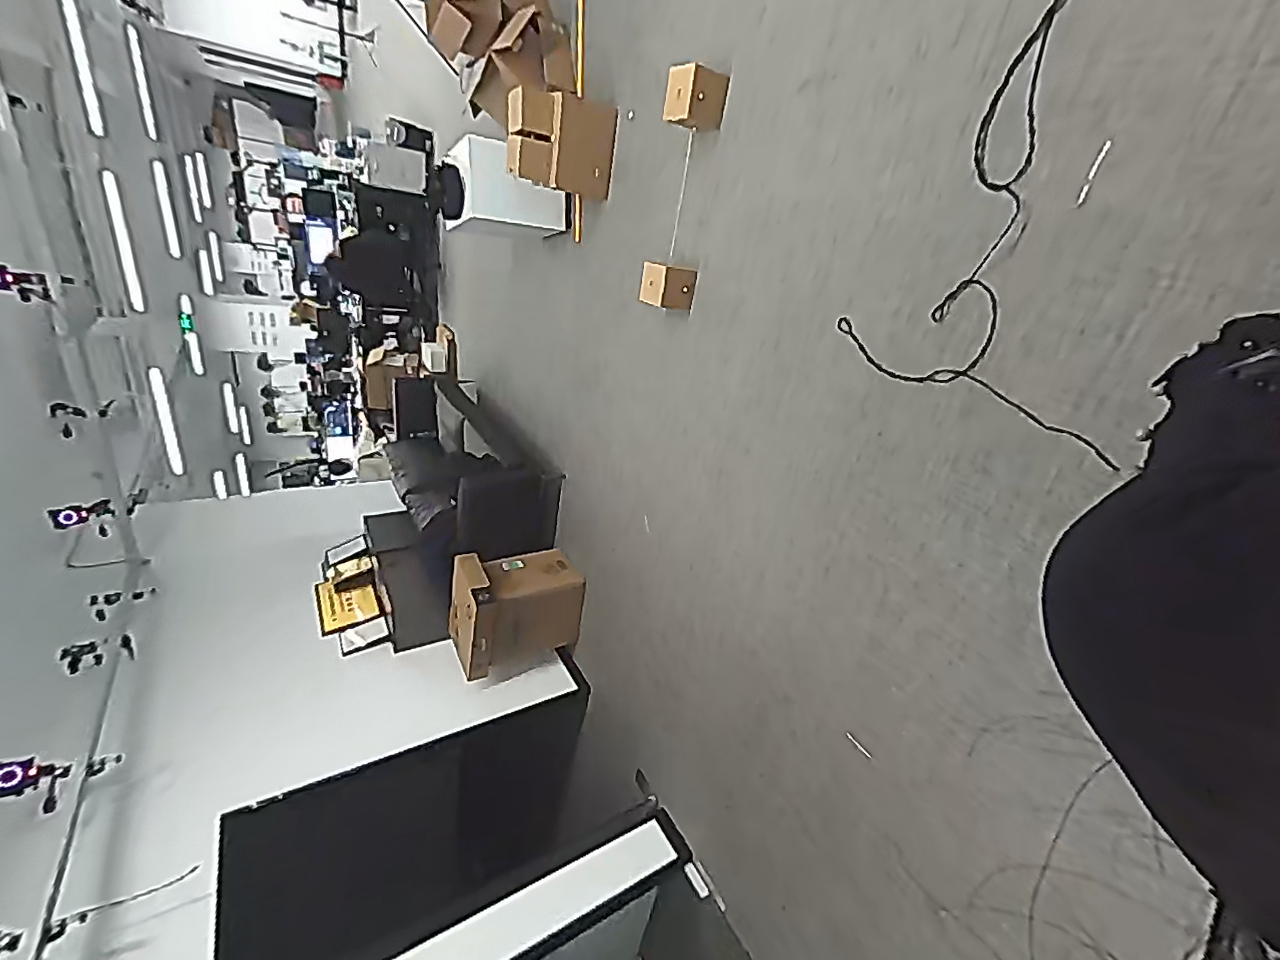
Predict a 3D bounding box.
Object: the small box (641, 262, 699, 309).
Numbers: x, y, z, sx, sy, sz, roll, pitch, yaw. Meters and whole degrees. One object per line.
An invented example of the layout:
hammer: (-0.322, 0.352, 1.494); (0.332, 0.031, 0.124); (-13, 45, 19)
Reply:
small box: (0.129, -0.849, 2.361); (0.179, 0.176, 0.168); (39, 129, 47)

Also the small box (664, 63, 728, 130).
small box: (0.217, -1.467, 2.078); (0.168, 0.176, 0.179); (39, 129, 47)
